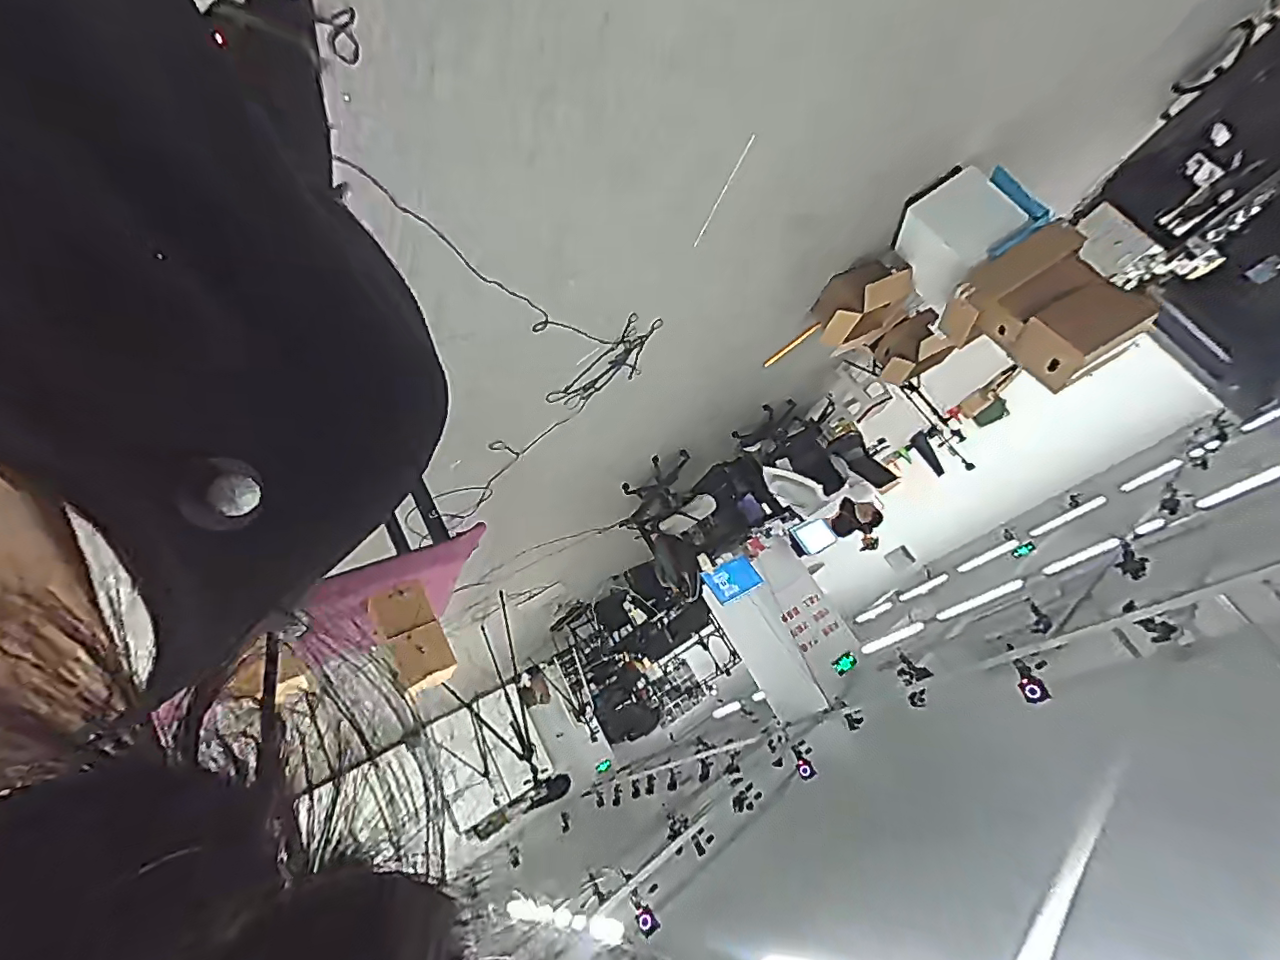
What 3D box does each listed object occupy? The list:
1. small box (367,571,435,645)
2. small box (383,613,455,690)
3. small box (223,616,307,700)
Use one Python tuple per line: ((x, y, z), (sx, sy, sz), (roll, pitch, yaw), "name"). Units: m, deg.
((-0.823, 0.435, 1.854), (0.168, 0.176, 0.179), (-18, 158, -36), "small box")
((-0.738, 0.563, 1.797), (0.168, 0.176, 0.179), (-17, 157, -38), "small box")
((-1.117, 0.526, 1.616), (0.168, 0.176, 0.179), (-19, 160, -36), "small box")
